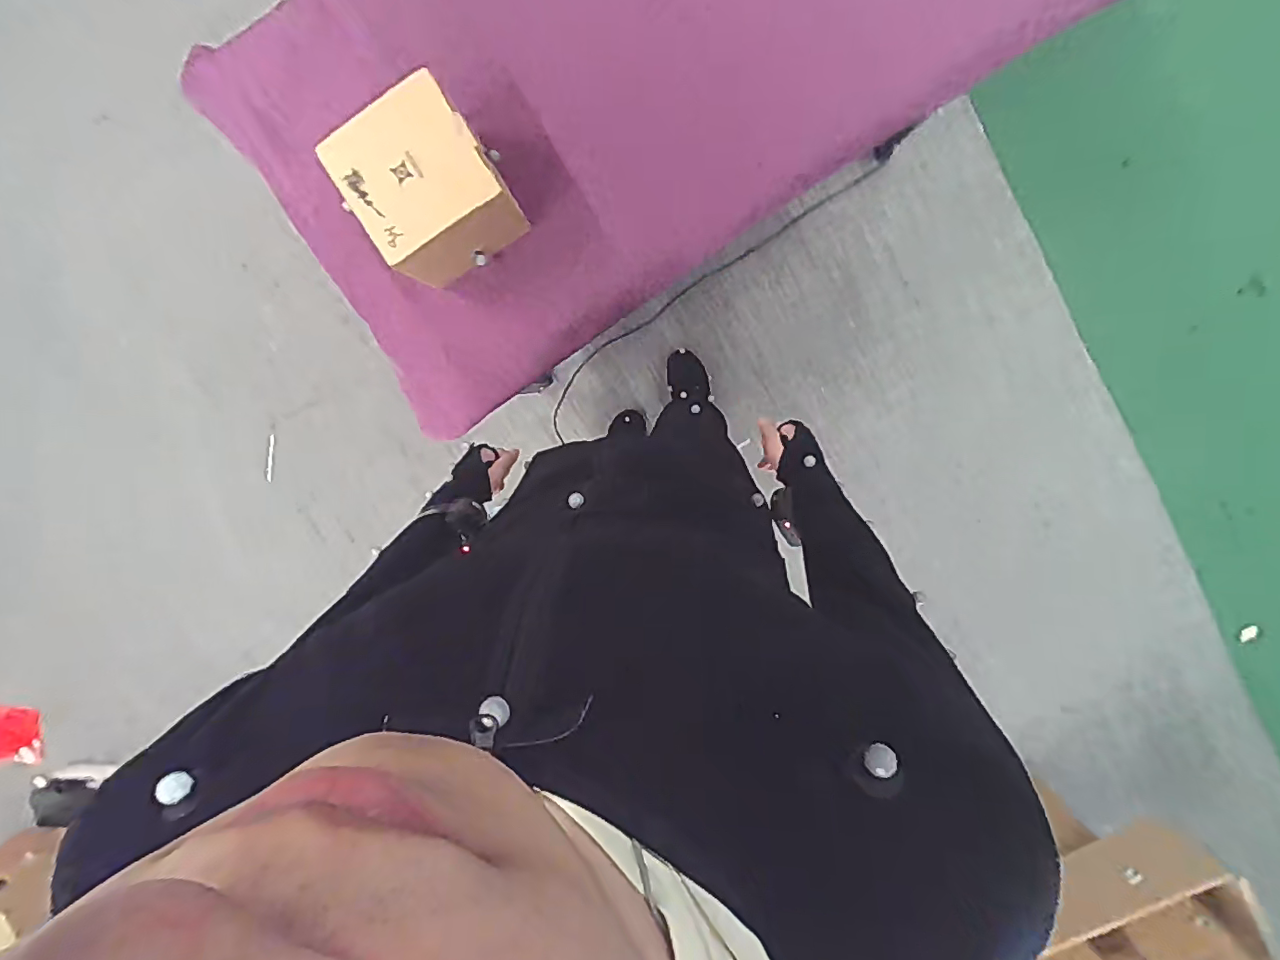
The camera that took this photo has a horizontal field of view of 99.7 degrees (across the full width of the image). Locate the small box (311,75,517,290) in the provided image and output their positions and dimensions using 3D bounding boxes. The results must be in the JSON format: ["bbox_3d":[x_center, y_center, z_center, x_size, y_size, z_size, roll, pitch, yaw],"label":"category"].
[{"bbox_3d":[-0.286,-0.386,0.738,0.179,0.176,0.168,-31,98,5],"label":"small box"}]
